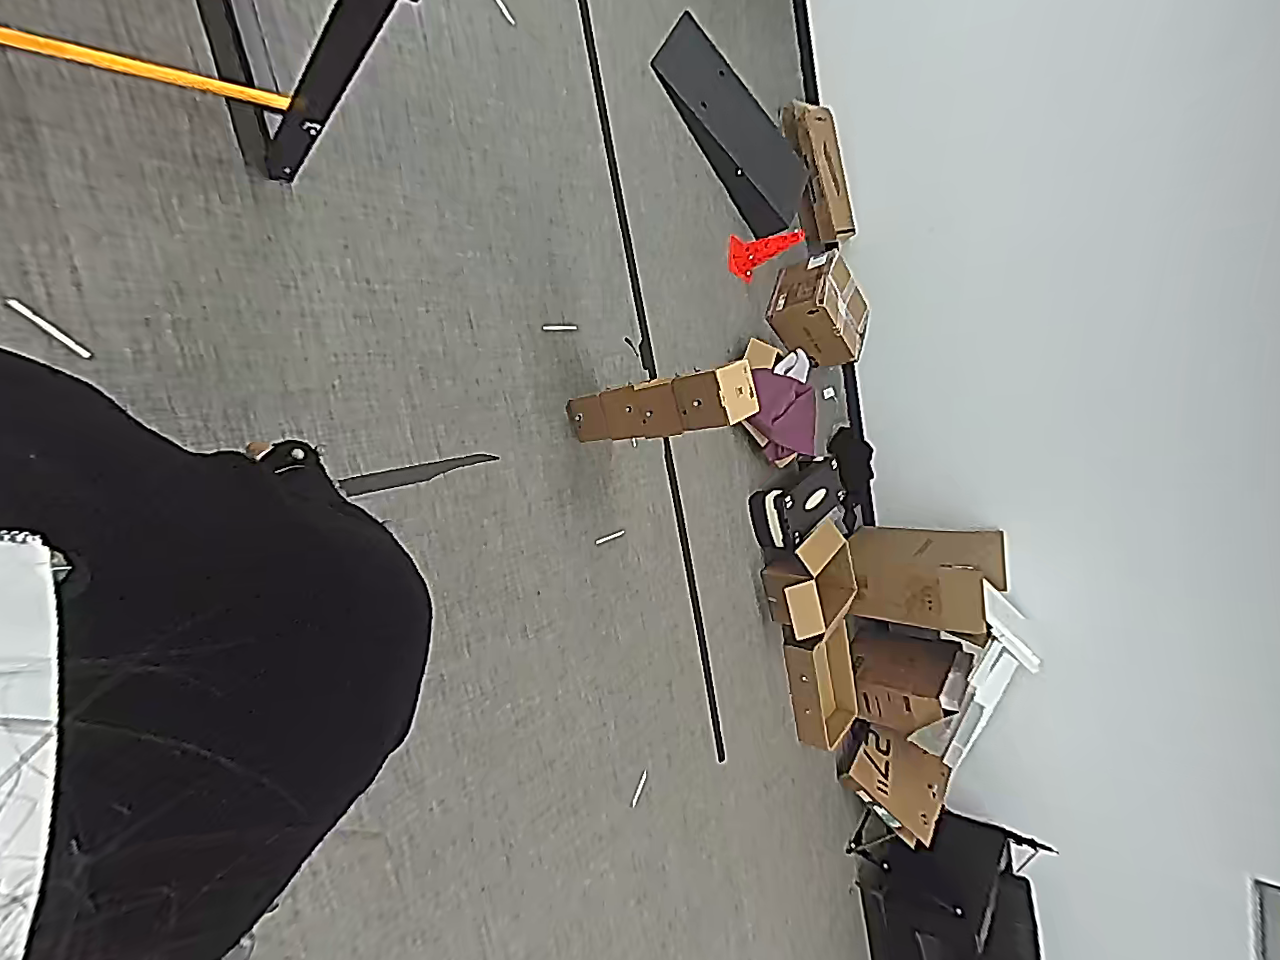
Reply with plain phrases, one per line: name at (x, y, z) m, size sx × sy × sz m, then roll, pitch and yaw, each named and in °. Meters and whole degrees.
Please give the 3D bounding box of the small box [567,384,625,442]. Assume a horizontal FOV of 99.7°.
small box at (-0.135, -0.245, 1.973) m, size 0.179 × 0.176 × 0.168 m, roll -27°, pitch 106°, yaw -42°

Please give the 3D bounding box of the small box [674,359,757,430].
small box at (0.222, -0.256, 1.633) m, size 0.179 × 0.176 × 0.168 m, roll -27°, pitch 107°, yaw -42°

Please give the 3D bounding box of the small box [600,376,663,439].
small box at (-0.015, -0.247, 1.861) m, size 0.168 × 0.176 × 0.179 m, roll -24°, pitch 105°, yaw -43°

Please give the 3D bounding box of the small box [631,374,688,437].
small box at (0.102, -0.244, 1.744) m, size 0.179 × 0.176 × 0.168 m, roll -29°, pitch 108°, yaw -42°
